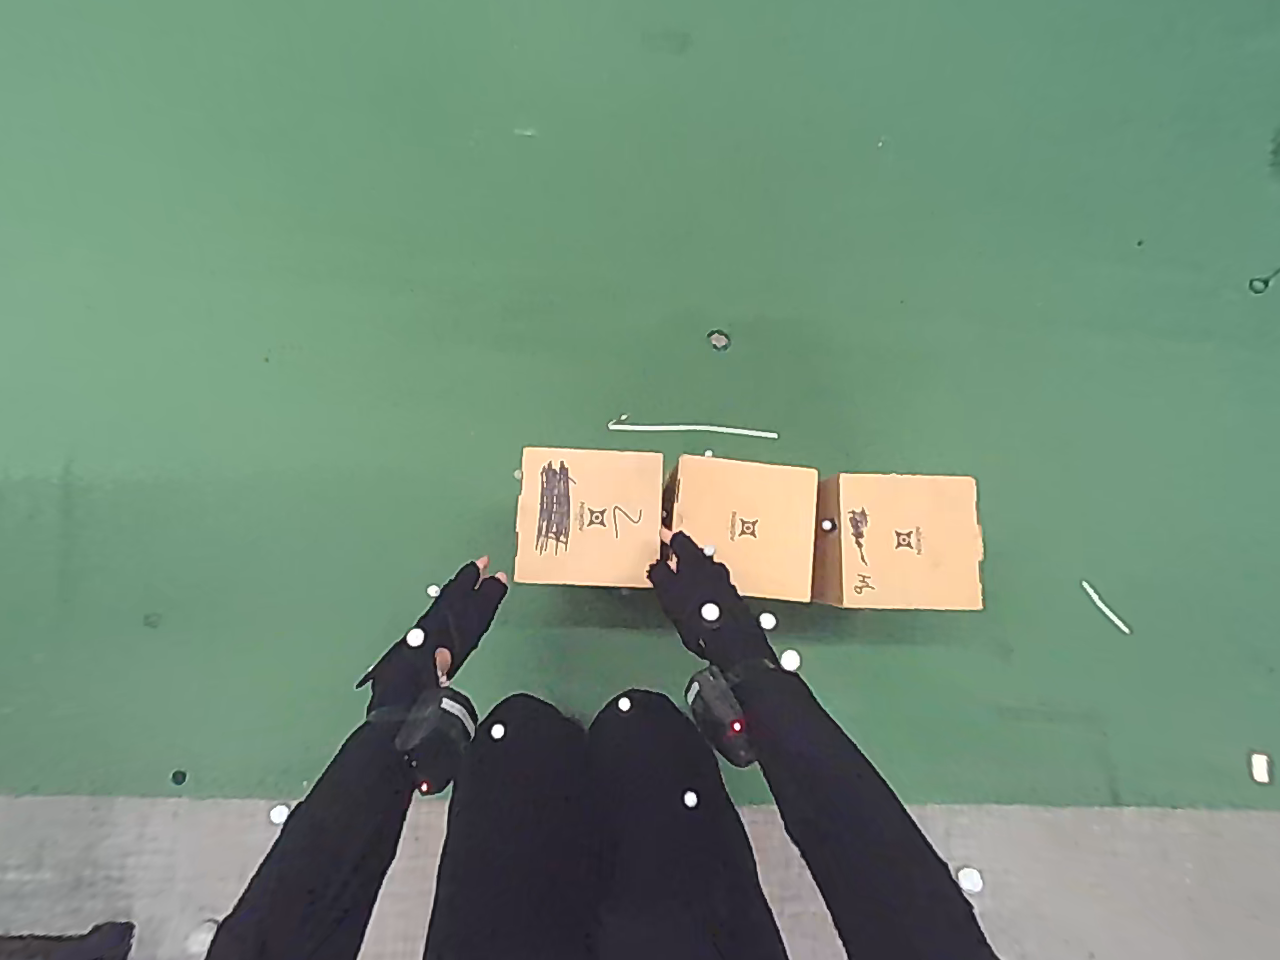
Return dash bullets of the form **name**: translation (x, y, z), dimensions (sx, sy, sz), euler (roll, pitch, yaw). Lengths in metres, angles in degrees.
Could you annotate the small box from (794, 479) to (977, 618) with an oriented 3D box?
- **small box**: translation (0.326, 0.094, 0.746), dimensions (0.179, 0.176, 0.168), euler (2, 81, -1)
